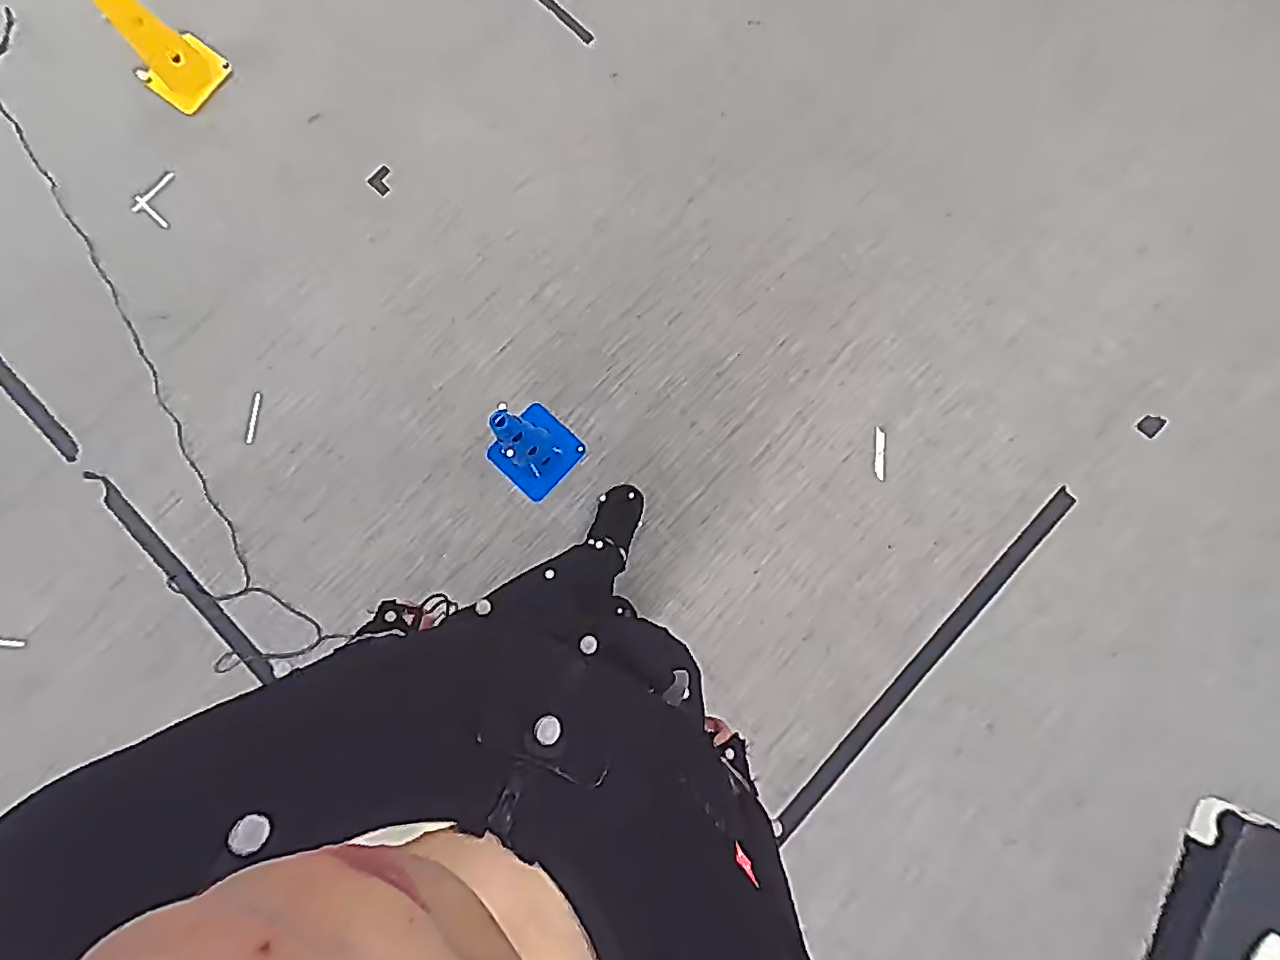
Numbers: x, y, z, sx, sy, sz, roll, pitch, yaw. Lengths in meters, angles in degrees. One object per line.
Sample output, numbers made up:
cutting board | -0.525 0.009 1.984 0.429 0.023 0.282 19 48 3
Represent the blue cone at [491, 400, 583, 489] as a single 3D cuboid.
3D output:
blue cone | -0.274 -0.111 1.248 0.193 0.380 0.192 44 85 6
